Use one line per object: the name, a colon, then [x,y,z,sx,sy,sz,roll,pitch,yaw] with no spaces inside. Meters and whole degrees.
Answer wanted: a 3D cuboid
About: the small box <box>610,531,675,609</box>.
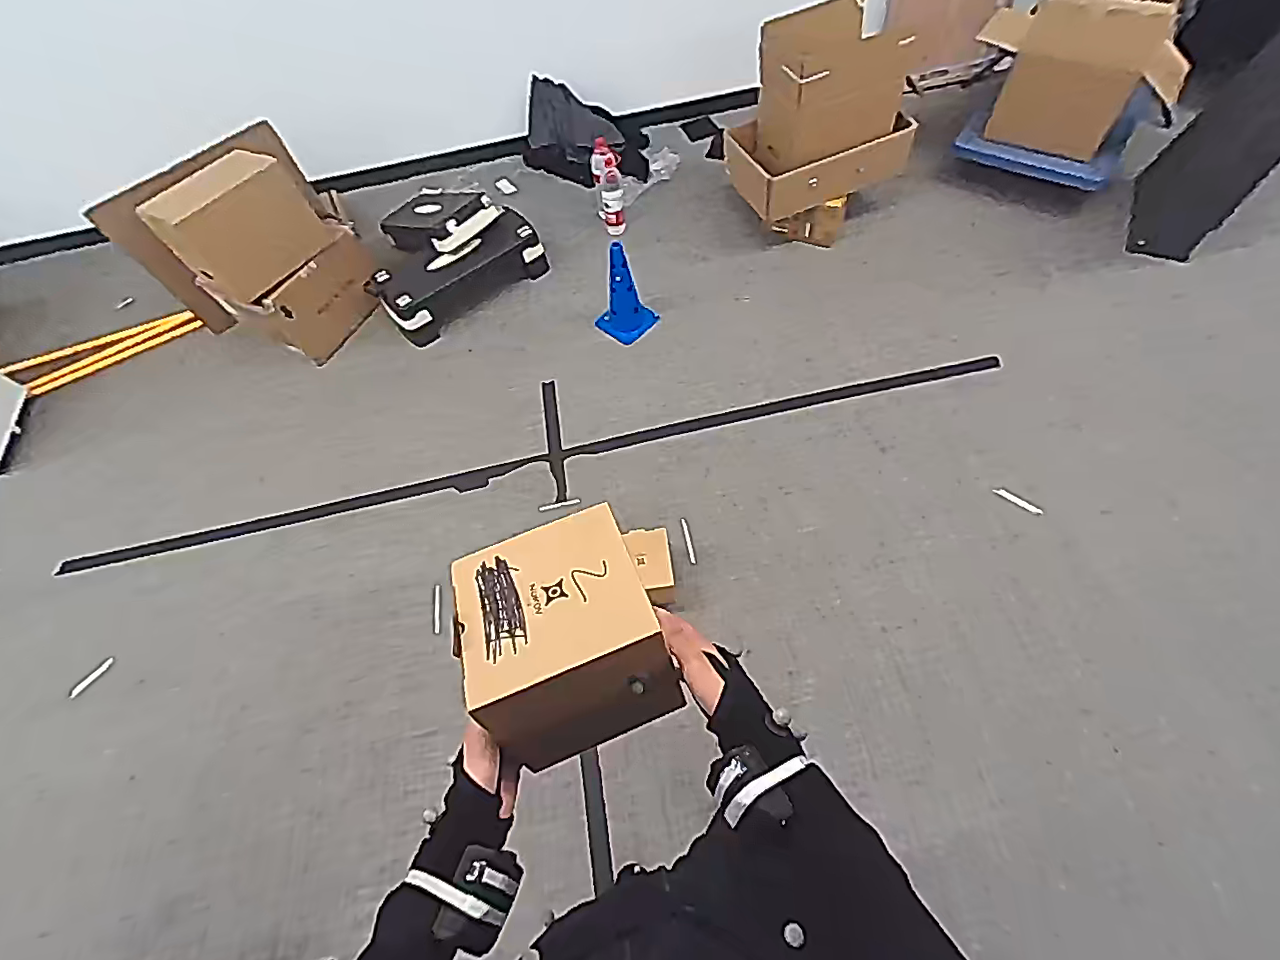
small box: [0.010,0.269,1.574,0.168,0.176,0.179,-8,60,1]
